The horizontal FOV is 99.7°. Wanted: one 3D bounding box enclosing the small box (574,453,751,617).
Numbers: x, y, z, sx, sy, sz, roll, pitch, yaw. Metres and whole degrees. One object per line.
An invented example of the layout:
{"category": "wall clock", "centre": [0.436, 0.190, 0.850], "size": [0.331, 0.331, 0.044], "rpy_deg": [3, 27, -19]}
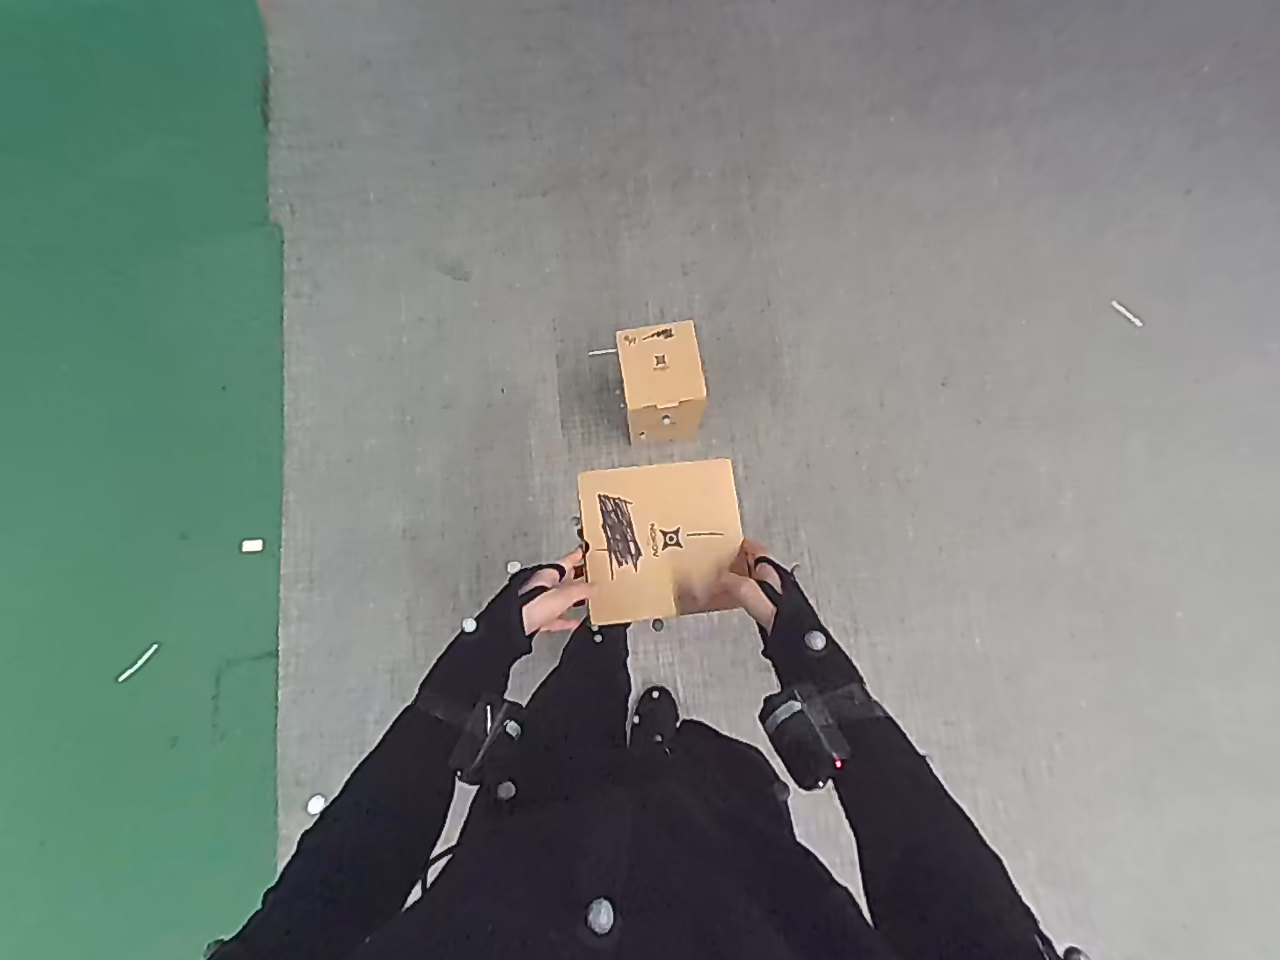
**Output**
{"category": "small box", "centre": [0.018, 0.074, 0.652], "size": [0.179, 0.176, 0.168], "rpy_deg": [-5, 77, -6]}

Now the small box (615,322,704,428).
{"category": "small box", "centre": [0.041, -0.220, 1.182], "size": [0.168, 0.176, 0.179], "rpy_deg": [-8, 80, -2]}
